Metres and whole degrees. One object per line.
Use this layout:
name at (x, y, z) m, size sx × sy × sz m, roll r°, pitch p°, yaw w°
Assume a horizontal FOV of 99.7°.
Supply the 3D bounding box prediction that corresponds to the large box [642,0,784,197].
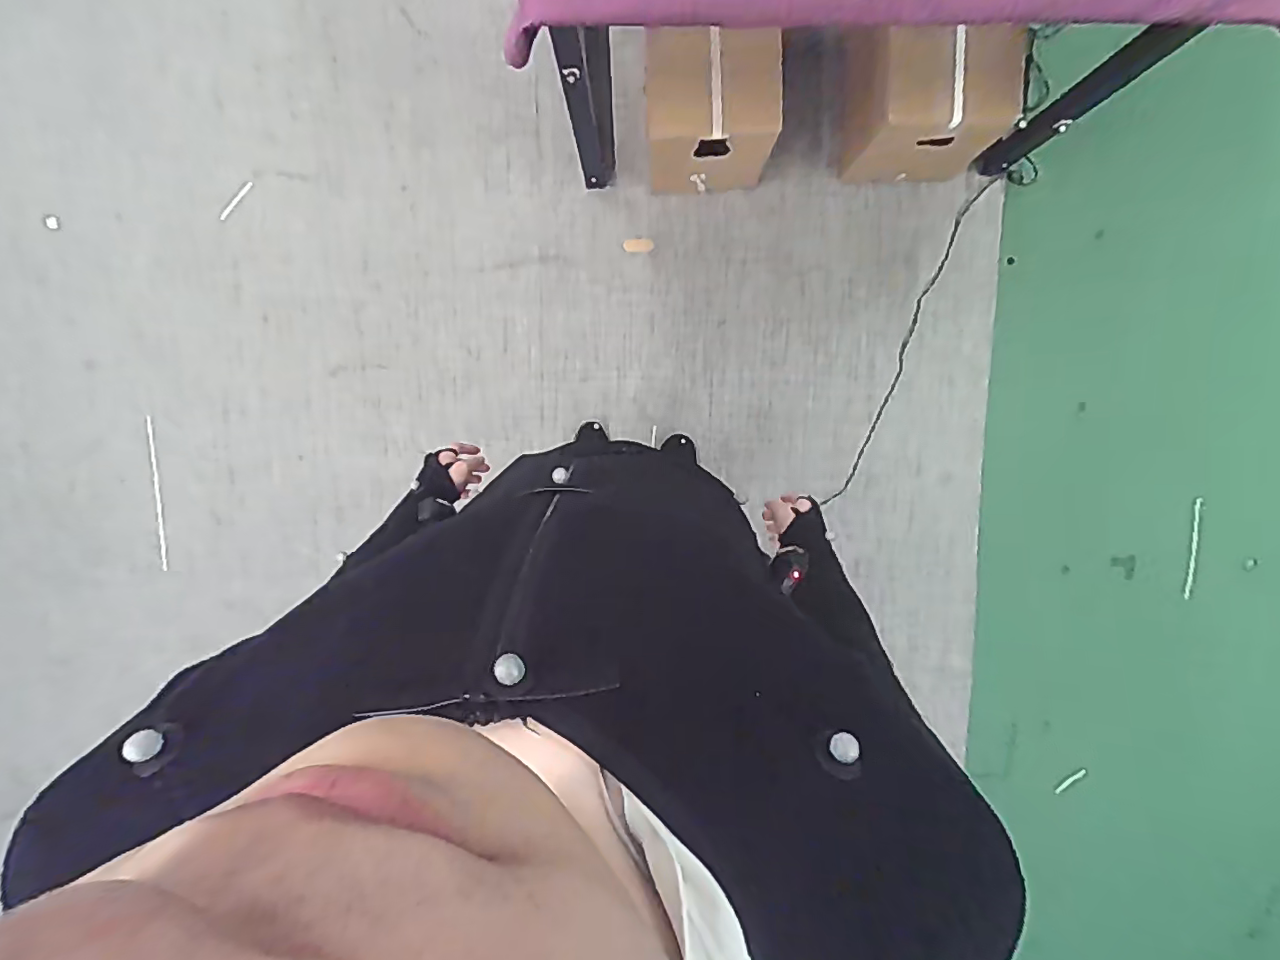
large box at (0.171, -1.005, 1.386) m, size 0.320 × 0.320 × 0.408 m, roll -3°, pitch 94°, yaw 0°
